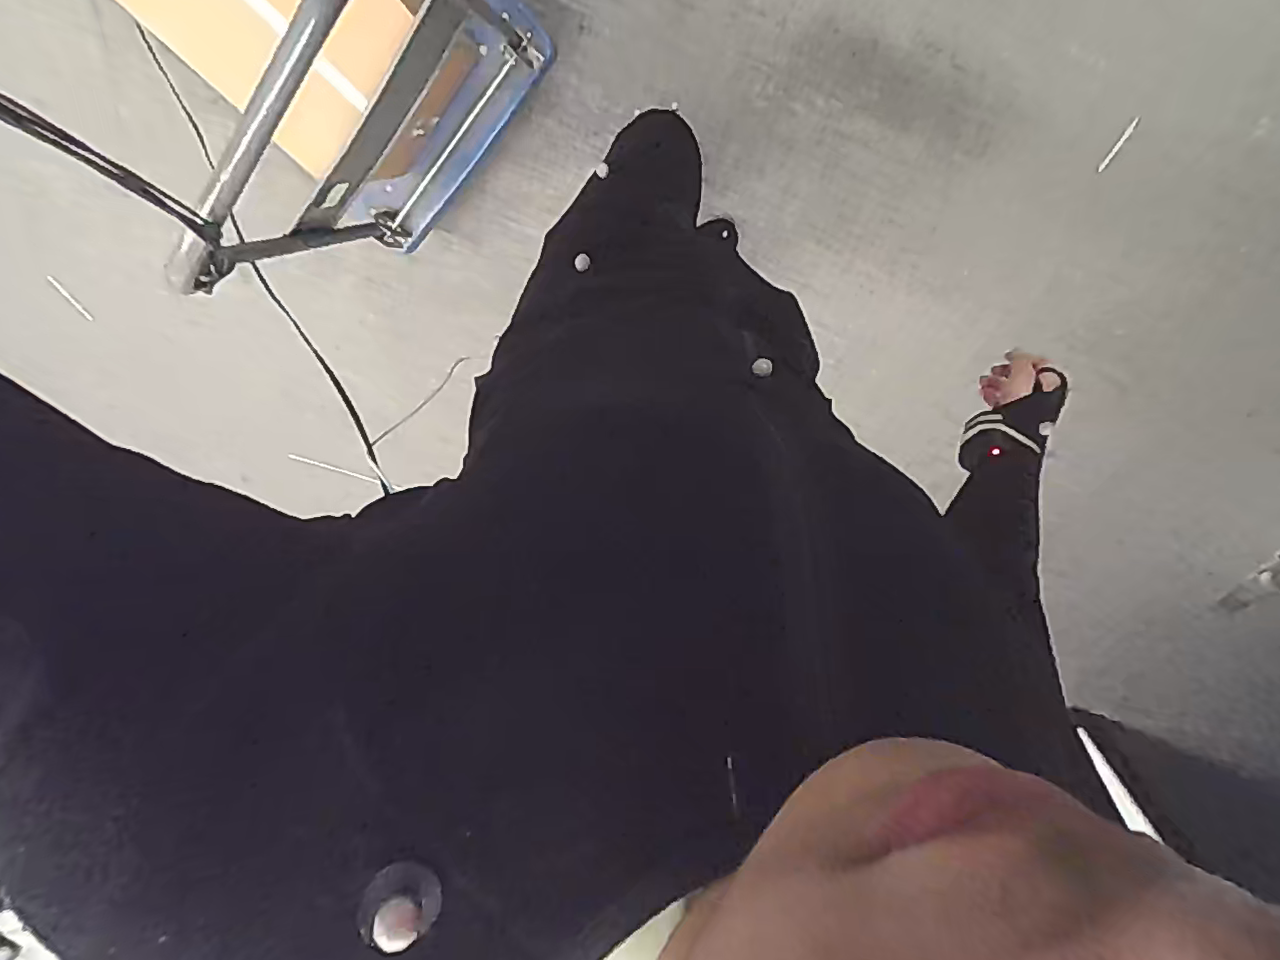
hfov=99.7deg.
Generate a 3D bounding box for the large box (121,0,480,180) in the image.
[{"bbox_3d":[-0.563,-0.803,0.934,0.320,0.320,0.408,-39,112,24],"label":"large box"}]
